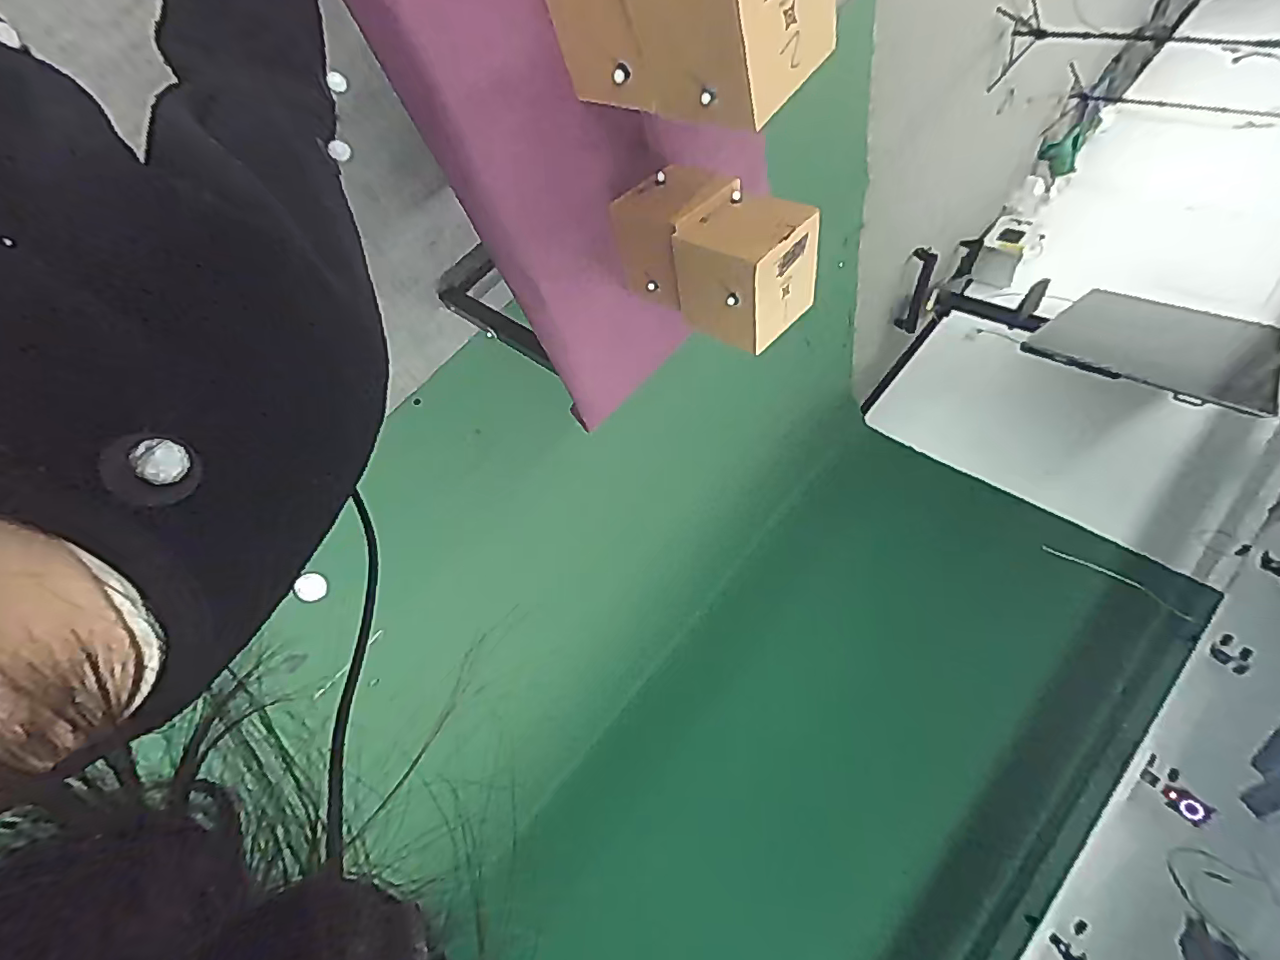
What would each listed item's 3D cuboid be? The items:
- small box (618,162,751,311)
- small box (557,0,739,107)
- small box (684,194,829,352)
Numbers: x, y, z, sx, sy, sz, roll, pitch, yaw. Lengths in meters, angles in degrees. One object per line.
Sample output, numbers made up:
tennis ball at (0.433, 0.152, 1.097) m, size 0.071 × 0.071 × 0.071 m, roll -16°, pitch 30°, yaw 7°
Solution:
small box at (0.084, -0.444, 0.982) m, size 0.168 × 0.176 × 0.179 m, roll -43°, pitch 145°, yaw -20°
small box at (0.006, -0.635, 0.711) m, size 0.168 × 0.176 × 0.179 m, roll -46°, pitch 146°, yaw -14°
small box at (0.189, -0.351, 0.898) m, size 0.168 × 0.176 × 0.179 m, roll -43°, pitch 146°, yaw -19°
